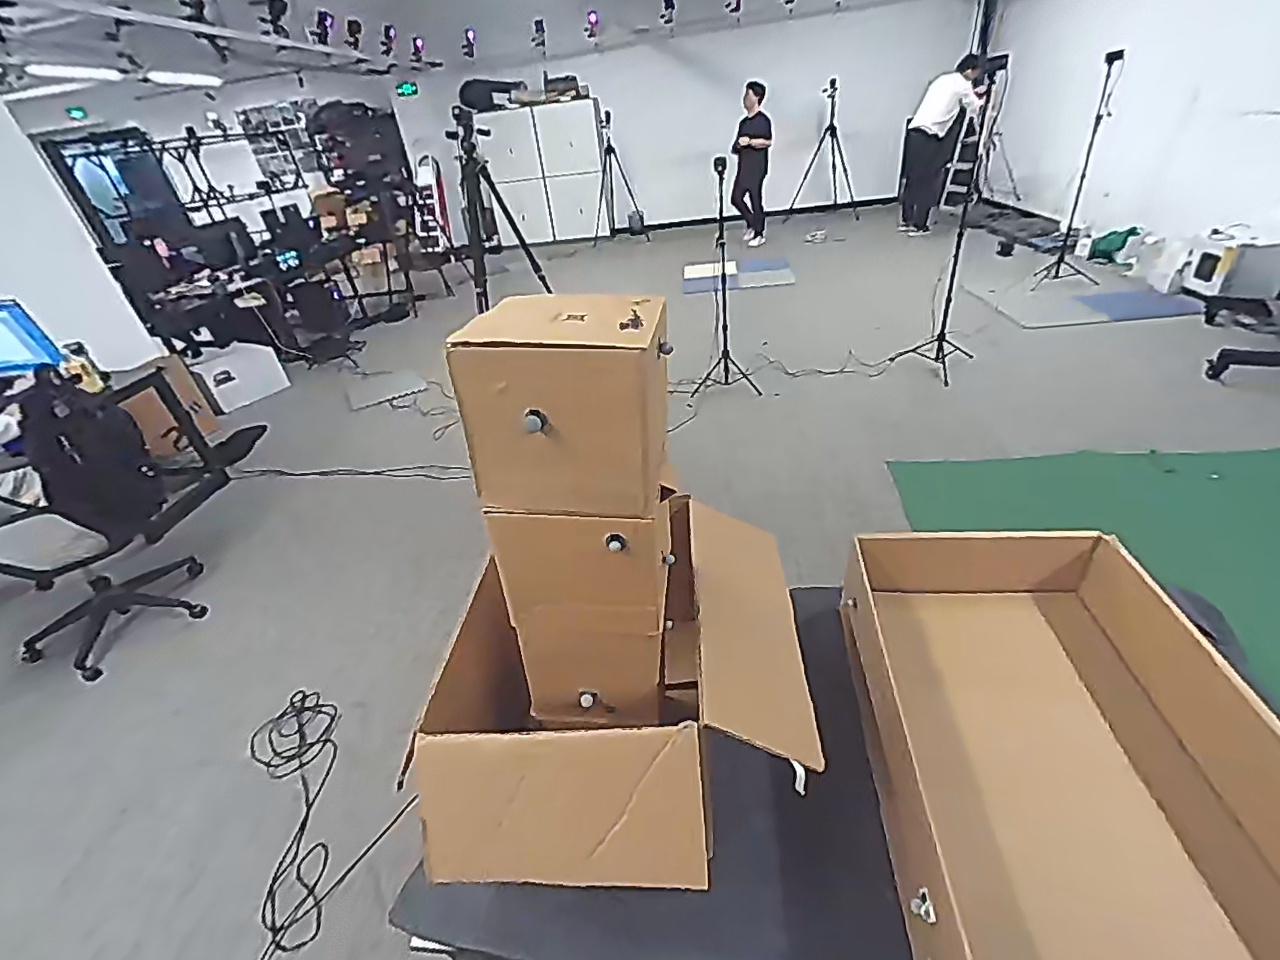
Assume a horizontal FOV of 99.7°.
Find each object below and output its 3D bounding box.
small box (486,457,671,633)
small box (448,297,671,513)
[{"bbox_3d":[-0.057,0.061,0.637,0.179,0.176,0.168,2,33,6],"label":"small box"},{"bbox_3d":[-0.063,-0.080,0.551,0.179,0.176,0.168,2,33,8],"label":"small box"}]
